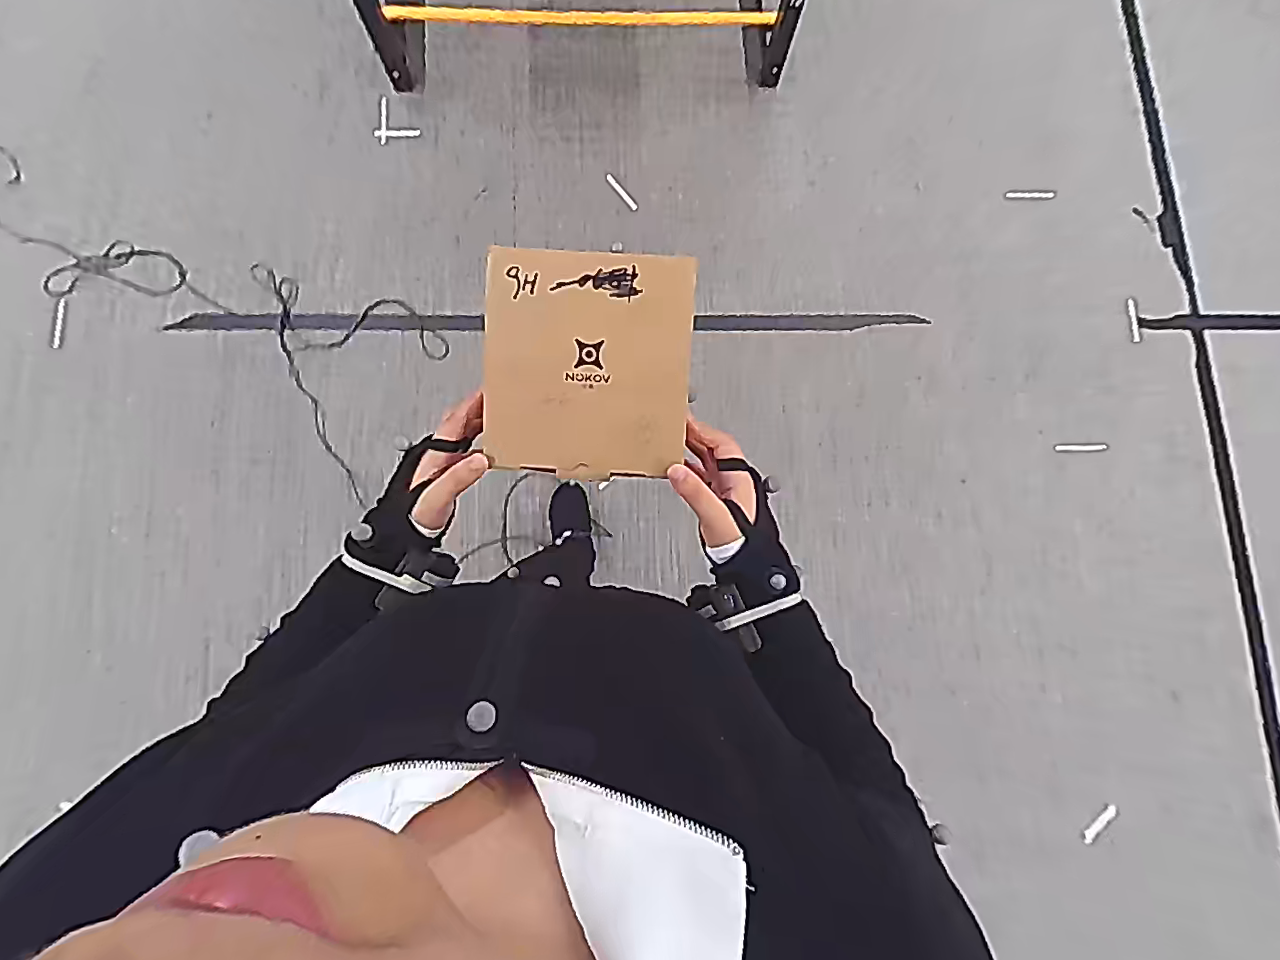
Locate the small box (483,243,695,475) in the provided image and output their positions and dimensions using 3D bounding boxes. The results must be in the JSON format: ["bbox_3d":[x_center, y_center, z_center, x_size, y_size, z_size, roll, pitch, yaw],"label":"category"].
[{"bbox_3d":[-0.042,-0.106,0.511,0.168,0.176,0.179,3,98,0],"label":"small box"}]
